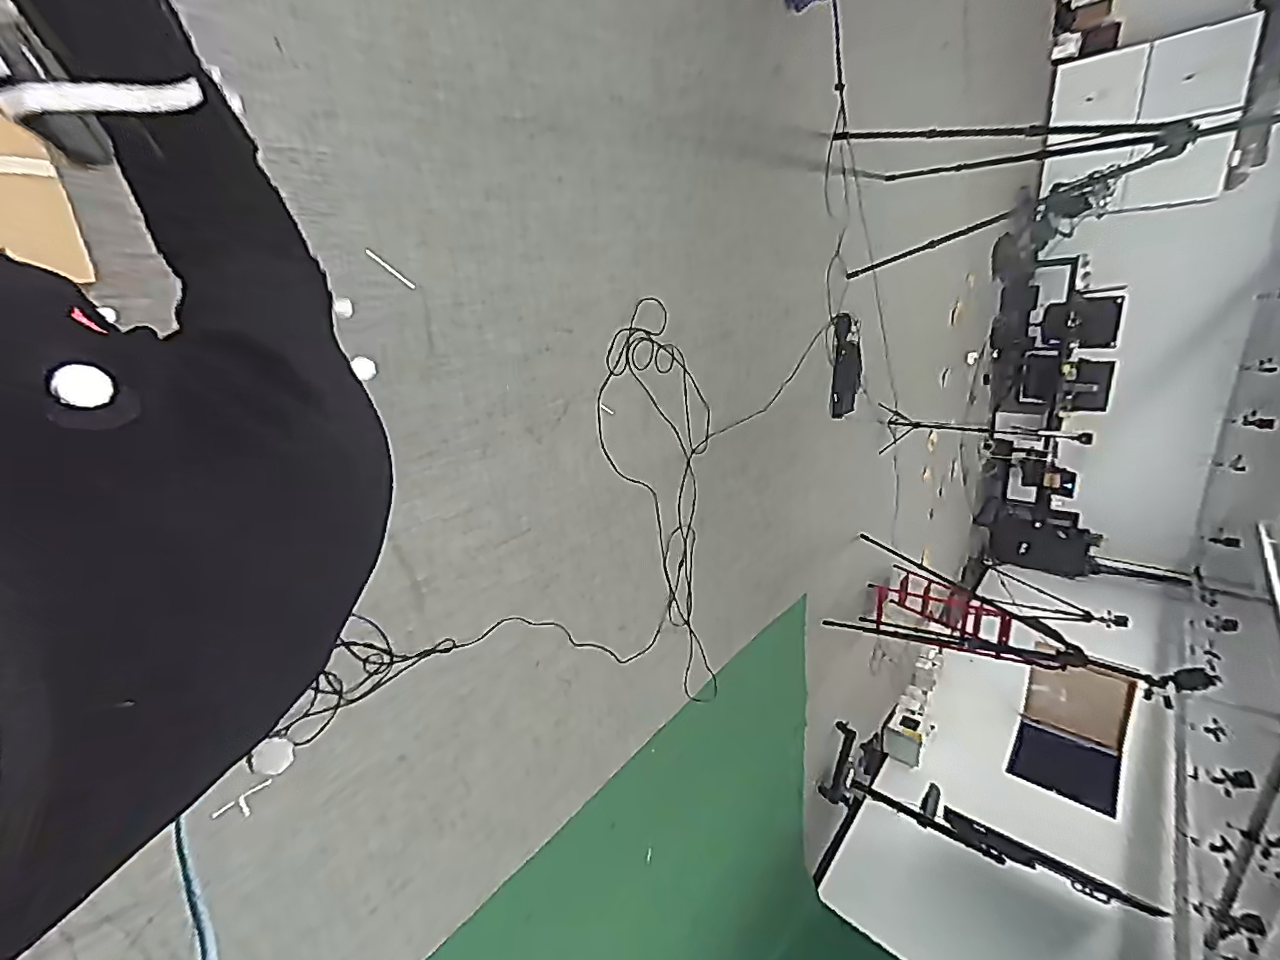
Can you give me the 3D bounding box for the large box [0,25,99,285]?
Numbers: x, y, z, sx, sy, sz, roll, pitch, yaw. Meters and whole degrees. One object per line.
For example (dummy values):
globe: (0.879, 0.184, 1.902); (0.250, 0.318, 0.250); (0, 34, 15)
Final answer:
large box: (-1.090, -0.437, 0.751); (0.408, 0.320, 0.320); (-24, 117, -42)
